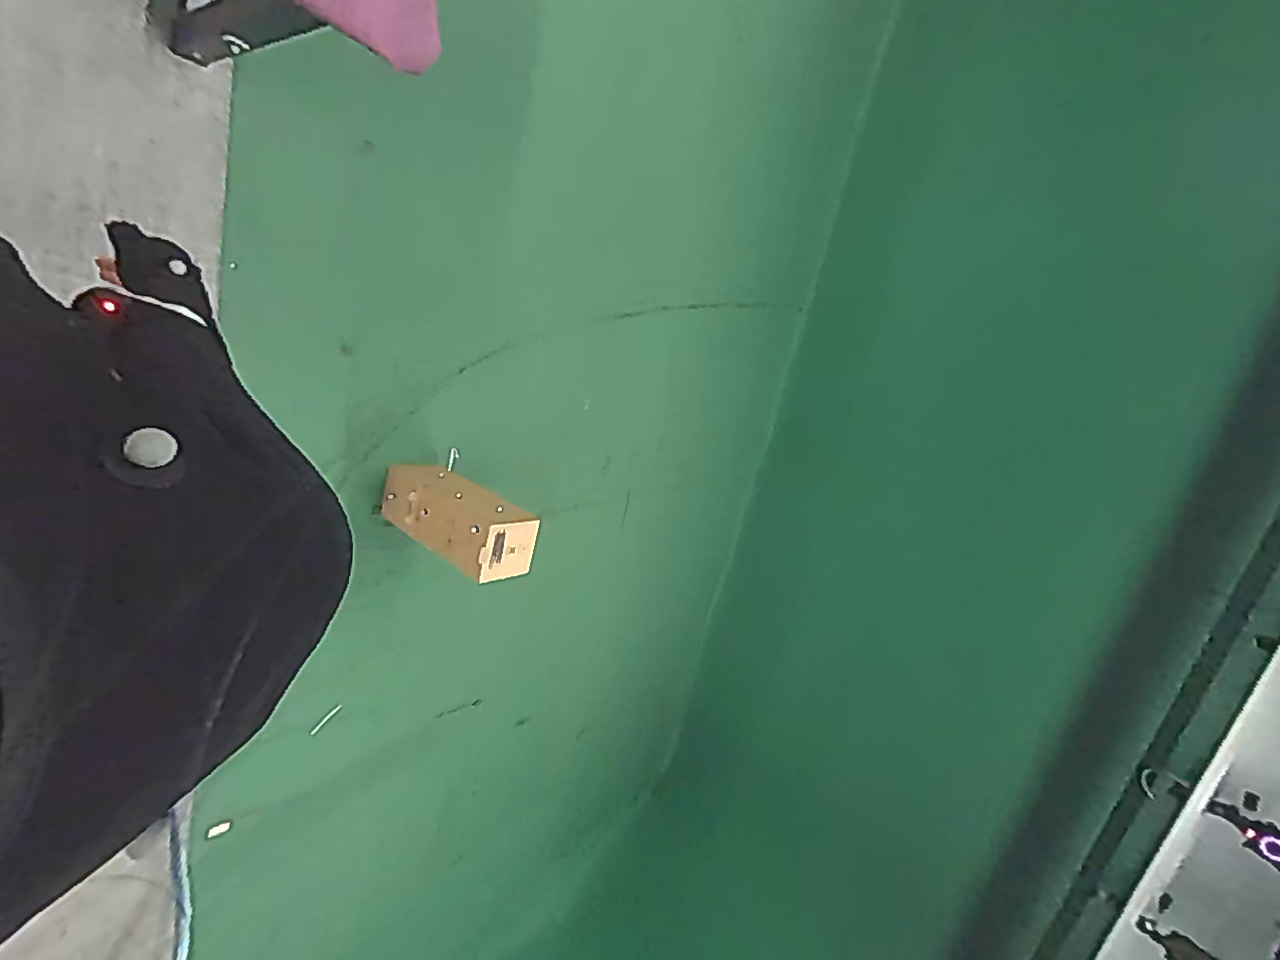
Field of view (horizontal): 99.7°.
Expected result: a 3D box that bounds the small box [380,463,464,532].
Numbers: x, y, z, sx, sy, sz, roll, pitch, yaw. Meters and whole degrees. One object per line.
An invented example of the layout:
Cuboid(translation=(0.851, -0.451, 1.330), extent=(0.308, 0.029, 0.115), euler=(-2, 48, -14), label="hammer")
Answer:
Cuboid(translation=(-0.668, 0.049, 1.673), extent=(0.179, 0.176, 0.168), euler=(0, 109, -54), label="small box")

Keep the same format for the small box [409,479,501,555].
Cuboid(translation=(-0.542, 0.101, 1.584), extent=(0.179, 0.176, 0.168), euler=(-3, 112, -53), label="small box")
